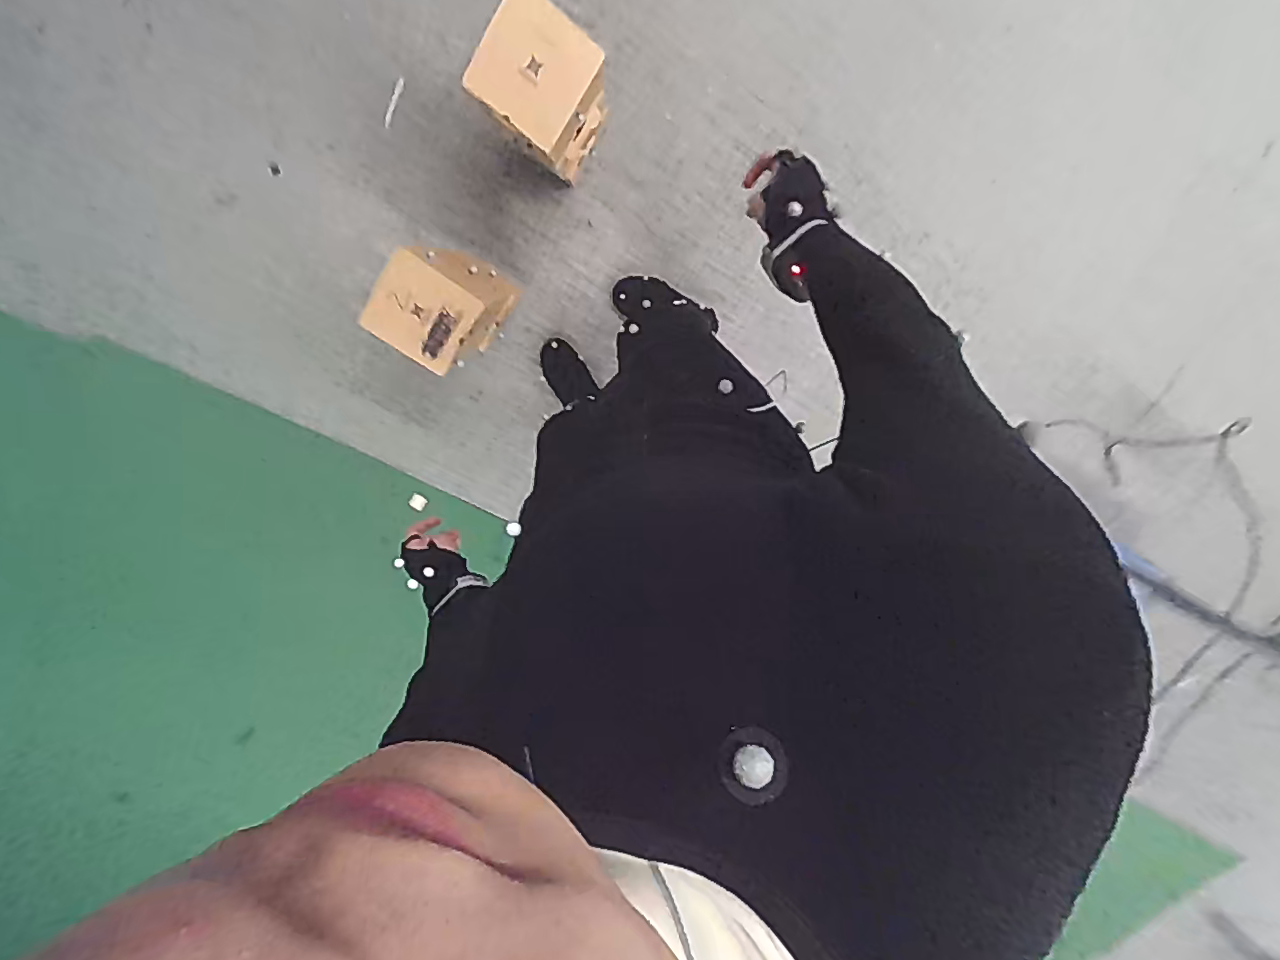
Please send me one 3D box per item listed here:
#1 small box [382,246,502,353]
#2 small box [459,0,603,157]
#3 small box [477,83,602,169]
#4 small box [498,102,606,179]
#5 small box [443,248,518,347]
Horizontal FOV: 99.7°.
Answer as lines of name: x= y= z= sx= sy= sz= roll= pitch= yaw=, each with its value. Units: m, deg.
small box: x=-0.431 y=-0.407 z=1.210 sx=0.179 sy=0.176 sz=0.168 roll=-22 pitch=116 yaw=6
small box: x=-0.175 y=-0.685 z=0.917 sx=0.168 sy=0.176 sz=0.179 roll=33 pitch=107 yaw=-18
small box: x=-0.191 y=-0.747 z=1.068 sx=0.179 sy=0.176 sz=0.168 roll=34 pitch=108 yaw=-17
small box: x=-0.194 y=-0.808 z=1.220 sx=0.179 sy=0.176 sz=0.168 roll=29 pitch=108 yaw=-17
small box: x=-0.425 y=-0.463 z=1.356 sx=0.179 sy=0.176 sz=0.168 roll=32 pitch=107 yaw=-16
